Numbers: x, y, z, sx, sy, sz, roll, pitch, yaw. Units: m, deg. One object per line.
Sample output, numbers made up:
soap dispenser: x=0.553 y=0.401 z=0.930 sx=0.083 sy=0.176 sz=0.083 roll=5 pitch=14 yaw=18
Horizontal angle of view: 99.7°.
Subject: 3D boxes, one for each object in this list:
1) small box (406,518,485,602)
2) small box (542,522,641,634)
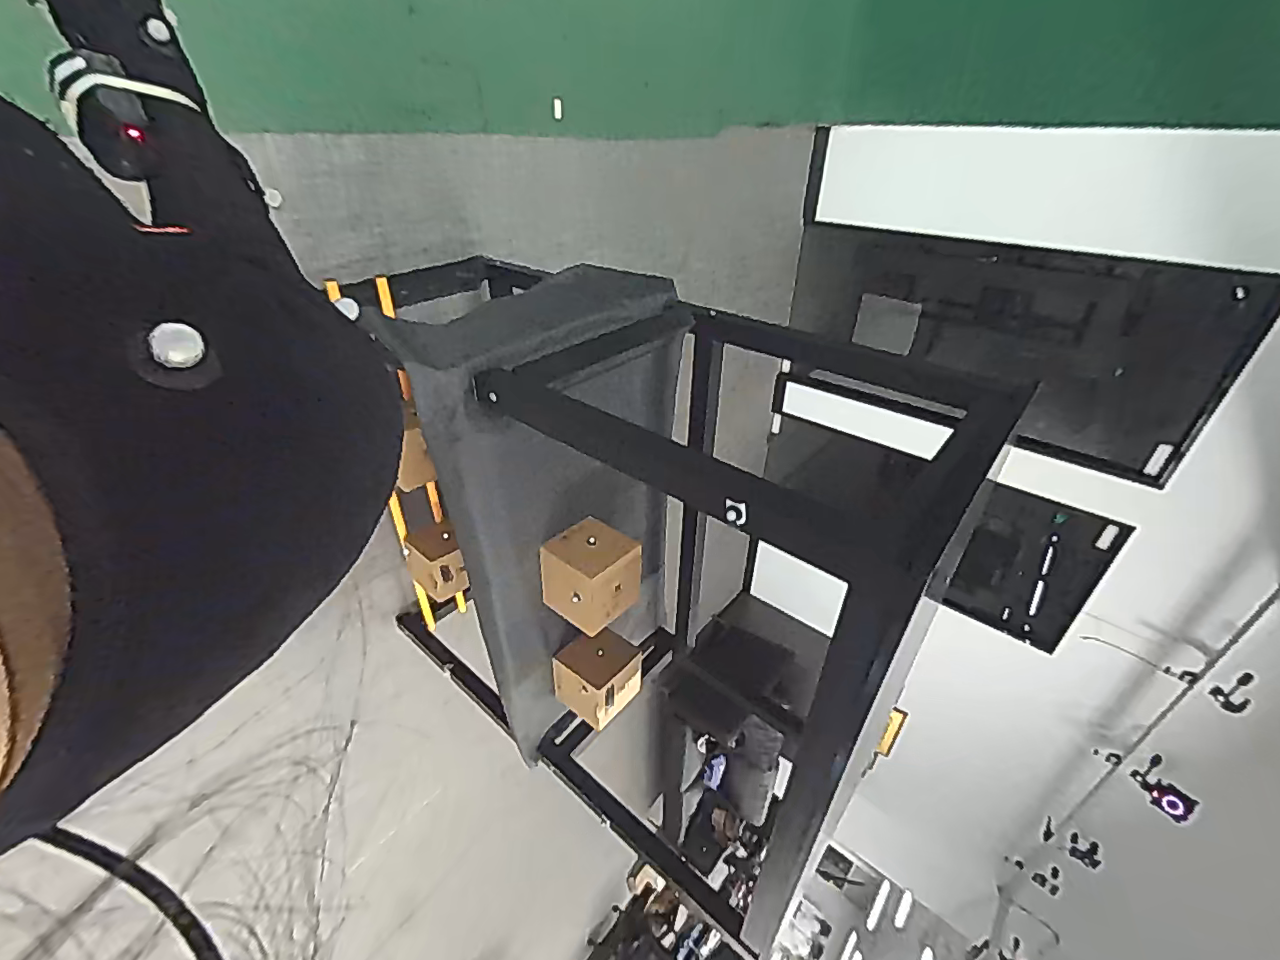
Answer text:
small box: x=-0.624 y=0.249 z=1.727 sx=0.179 sy=0.176 sz=0.168 roll=-30 pitch=134 yaw=-42
small box: x=-0.115 y=0.217 z=1.267 sx=0.168 sy=0.176 sz=0.179 roll=-30 pitch=134 yaw=-41
